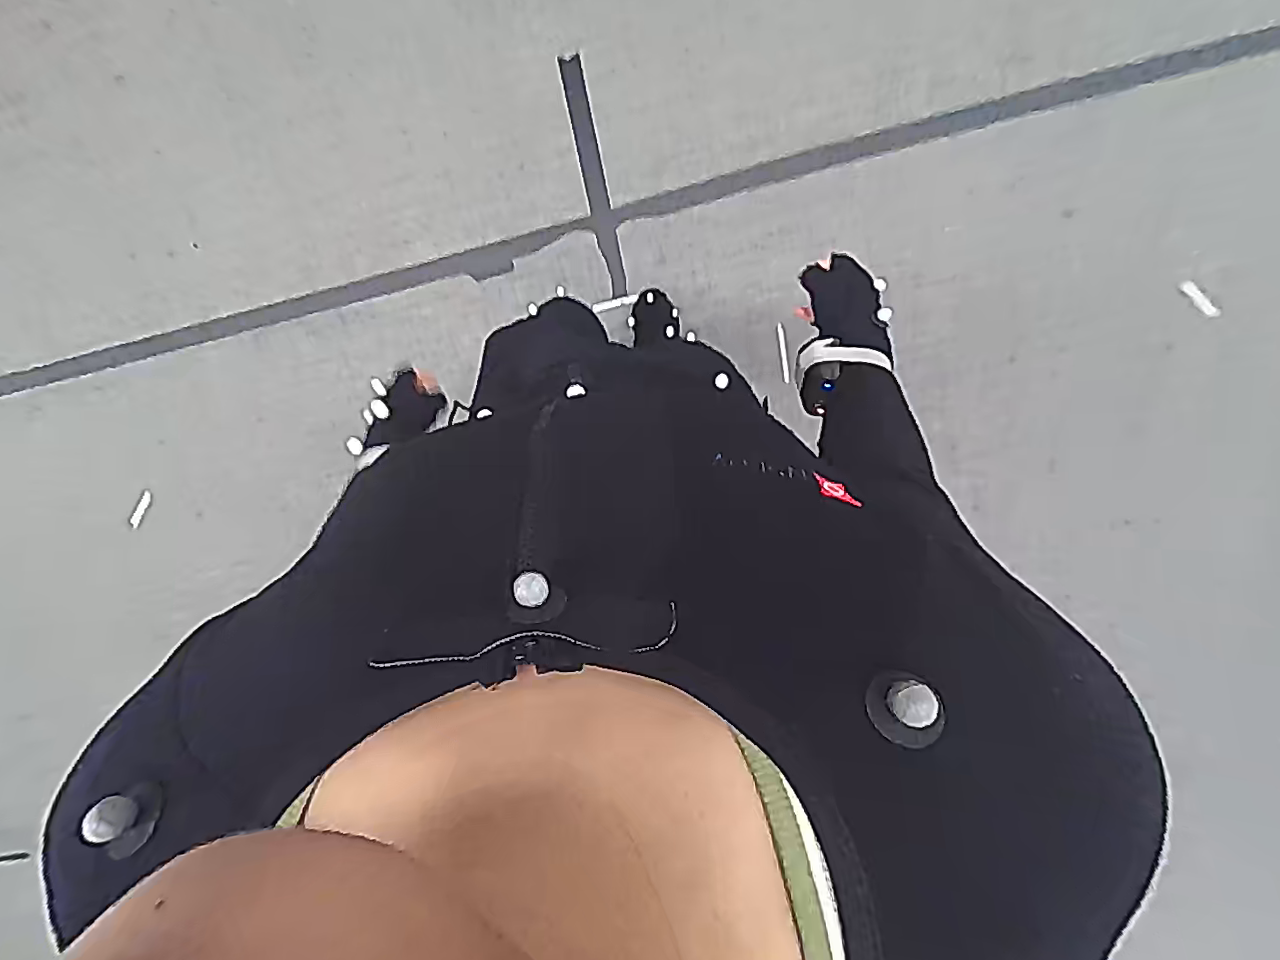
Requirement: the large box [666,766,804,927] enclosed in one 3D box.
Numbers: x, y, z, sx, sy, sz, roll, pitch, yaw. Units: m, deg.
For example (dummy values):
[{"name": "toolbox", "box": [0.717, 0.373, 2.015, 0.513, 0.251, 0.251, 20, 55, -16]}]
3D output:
[{"name": "large box", "box": [0.299, 1.191, 1.776, 0.408, 0.320, 0.320, -5, 108, 2]}]
